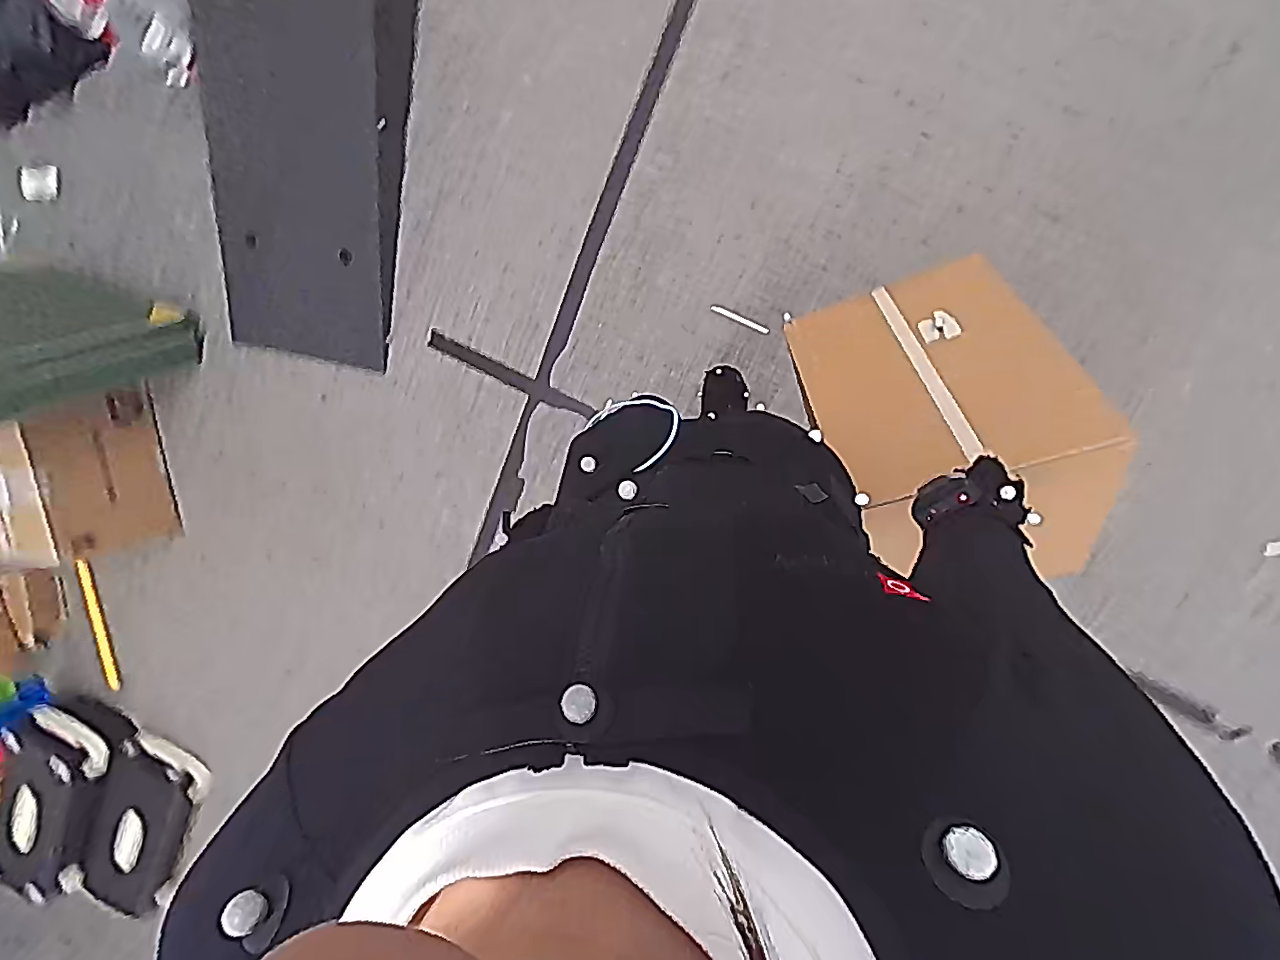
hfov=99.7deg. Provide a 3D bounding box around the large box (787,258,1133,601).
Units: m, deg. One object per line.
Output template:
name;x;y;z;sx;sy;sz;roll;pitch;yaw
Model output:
large box;0.462;-0.073;0.877;0.320;0.408;0.320;-16;139;15
